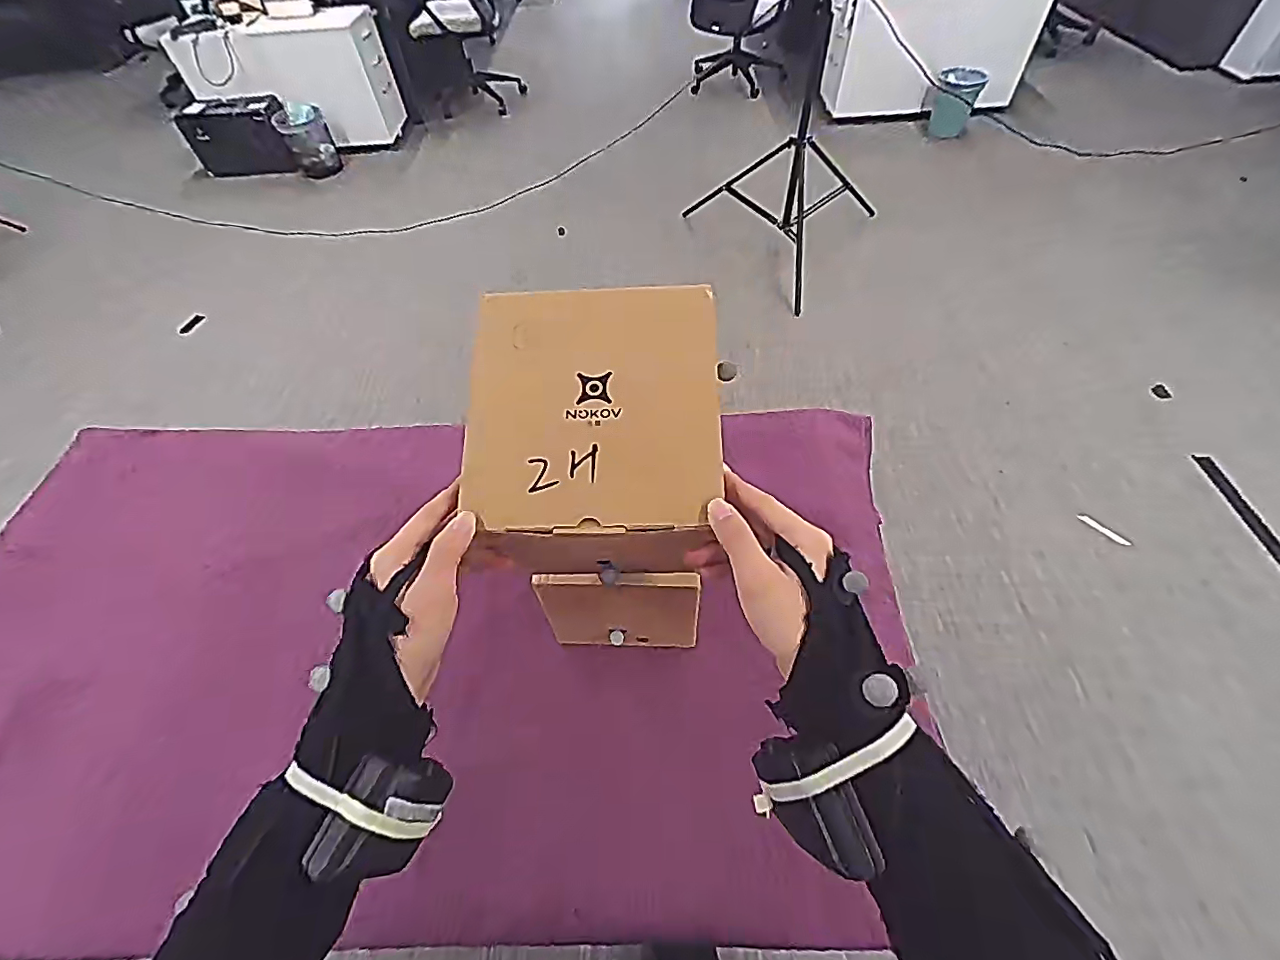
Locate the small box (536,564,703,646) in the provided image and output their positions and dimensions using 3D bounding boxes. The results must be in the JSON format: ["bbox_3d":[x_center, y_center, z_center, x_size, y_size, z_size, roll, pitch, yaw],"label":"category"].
[{"bbox_3d":[-0.013,0.078,0.634,0.168,0.176,0.179,1,54,4],"label":"small box"}]

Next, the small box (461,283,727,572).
[{"bbox_3d":[-0.023,-0.029,0.429,0.168,0.176,0.179,-1,70,4],"label":"small box"}]
